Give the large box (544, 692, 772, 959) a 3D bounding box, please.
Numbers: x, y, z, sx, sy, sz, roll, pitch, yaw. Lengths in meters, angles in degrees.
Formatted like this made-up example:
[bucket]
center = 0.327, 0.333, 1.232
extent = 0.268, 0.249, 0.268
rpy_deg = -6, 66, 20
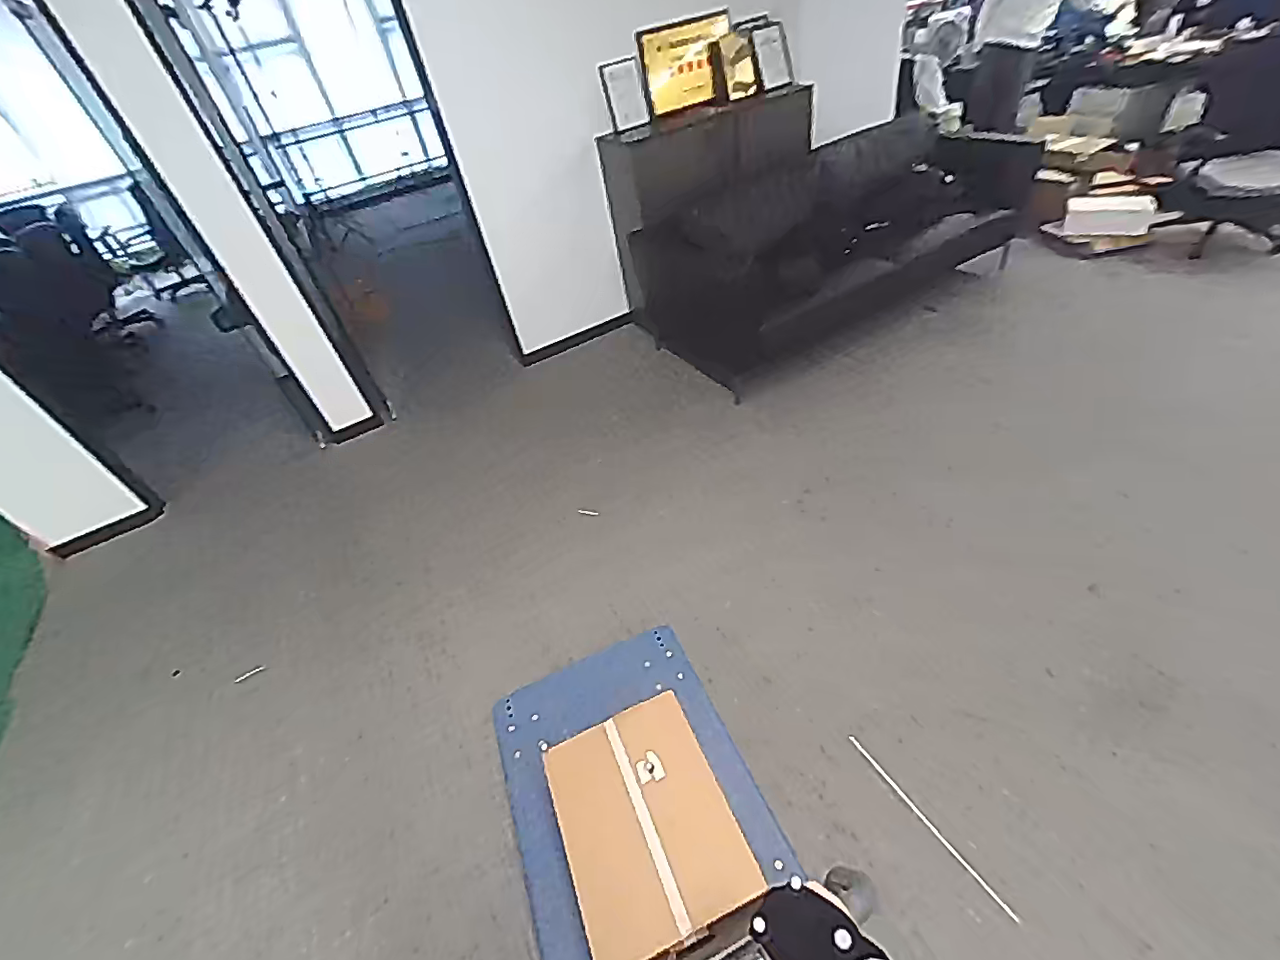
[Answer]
[large box]
center = 0.034, 0.750, 1.132
extent = 0.320, 0.320, 0.408
rpy_deg = -22, 40, -11
